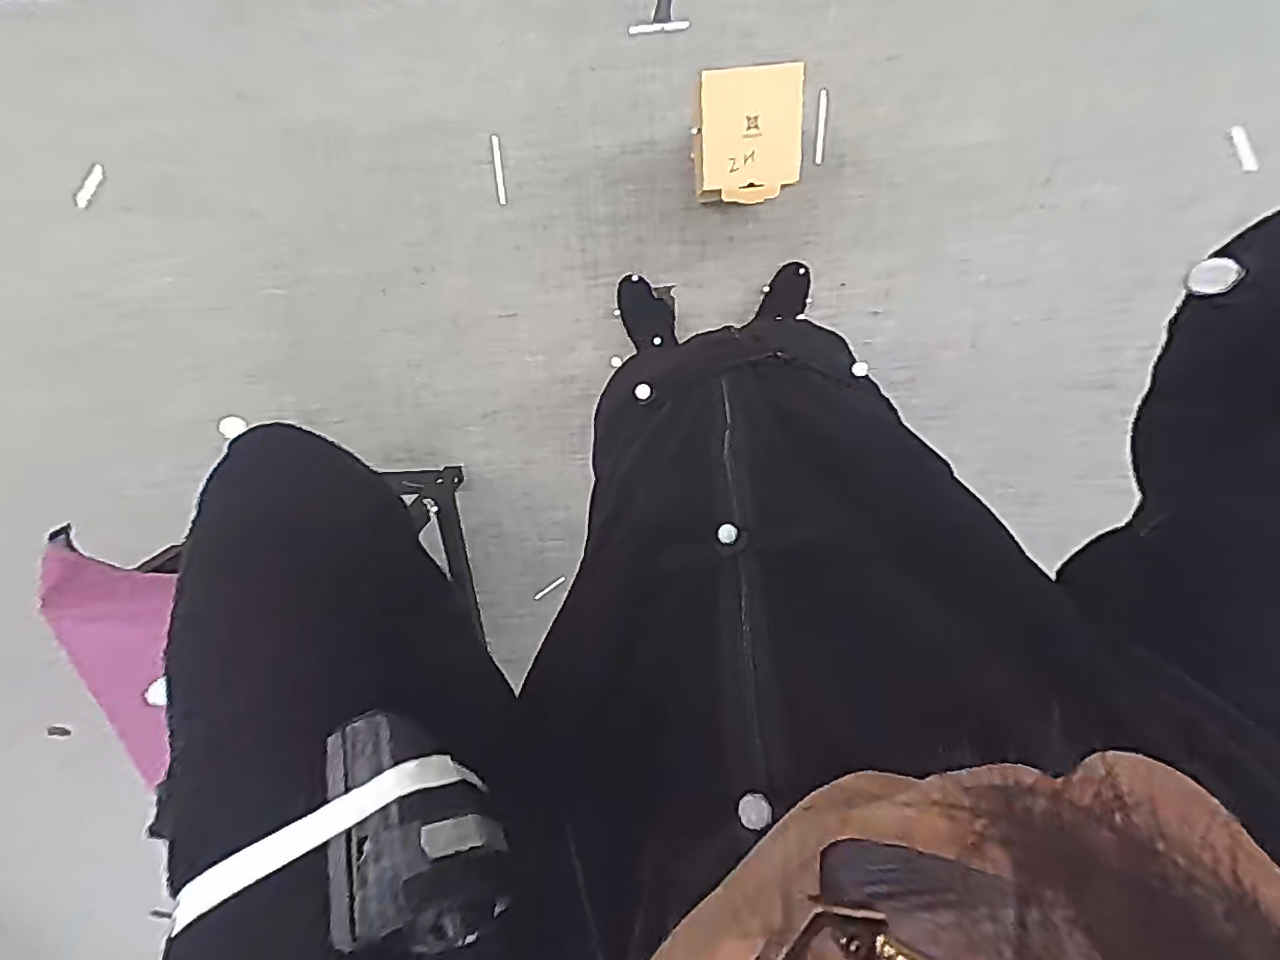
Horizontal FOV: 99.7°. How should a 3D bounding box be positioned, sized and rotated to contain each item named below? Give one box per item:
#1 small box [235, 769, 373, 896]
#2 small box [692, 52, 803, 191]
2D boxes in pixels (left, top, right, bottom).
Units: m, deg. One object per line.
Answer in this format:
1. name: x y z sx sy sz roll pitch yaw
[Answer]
1. small box: -0.717 0.765 1.179 0.168 0.176 0.179 -6 113 4
2. small box: 0.181 -0.625 0.962 0.168 0.176 0.179 -3 114 2
